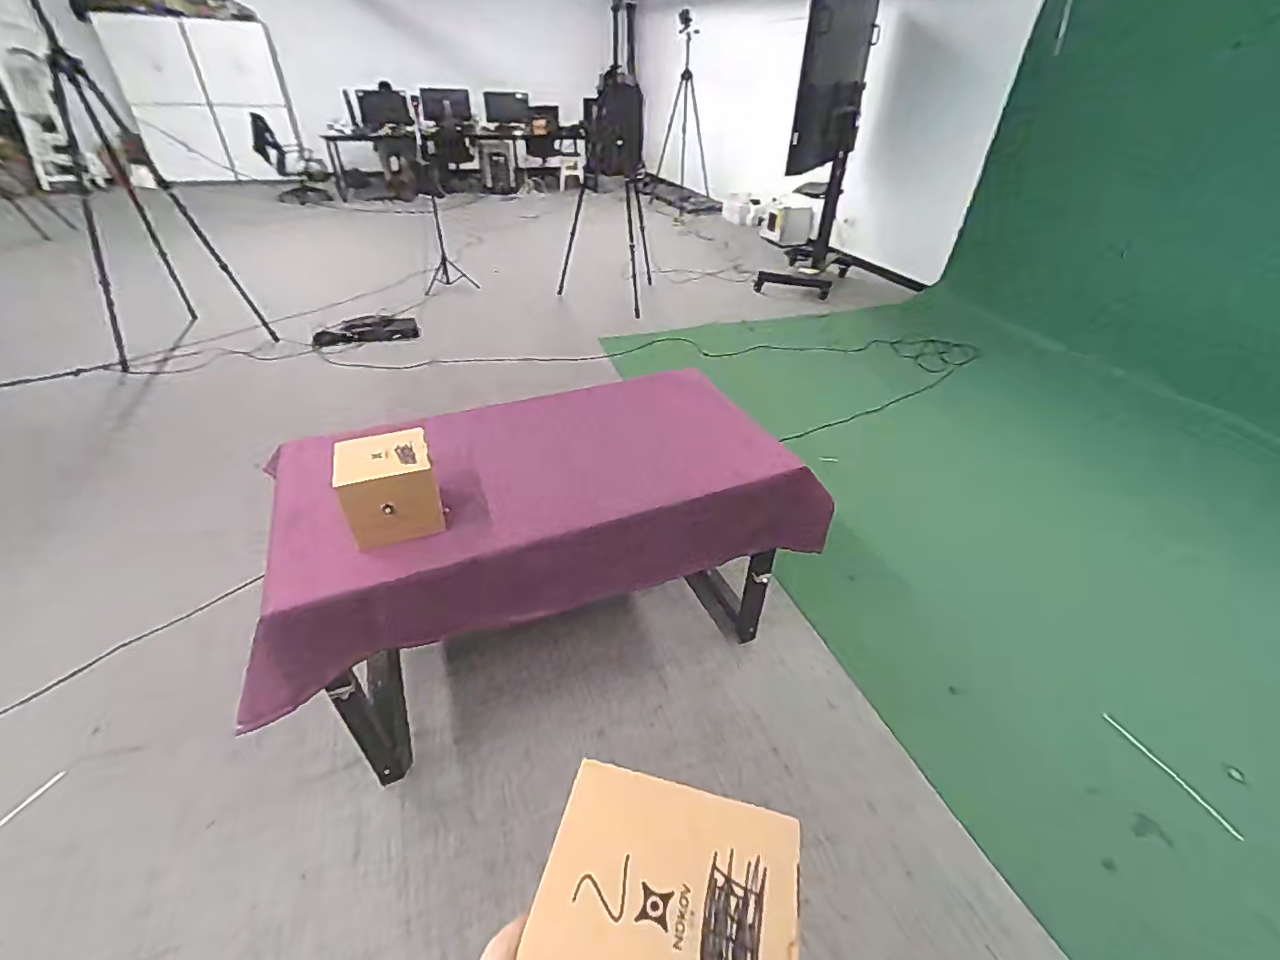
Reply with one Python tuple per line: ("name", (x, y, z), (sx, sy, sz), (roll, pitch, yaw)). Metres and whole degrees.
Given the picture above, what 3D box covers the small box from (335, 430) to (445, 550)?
("small box", (-0.516, 0.020, 1.132), (0.179, 0.176, 0.168), (-13, 39, -18))
